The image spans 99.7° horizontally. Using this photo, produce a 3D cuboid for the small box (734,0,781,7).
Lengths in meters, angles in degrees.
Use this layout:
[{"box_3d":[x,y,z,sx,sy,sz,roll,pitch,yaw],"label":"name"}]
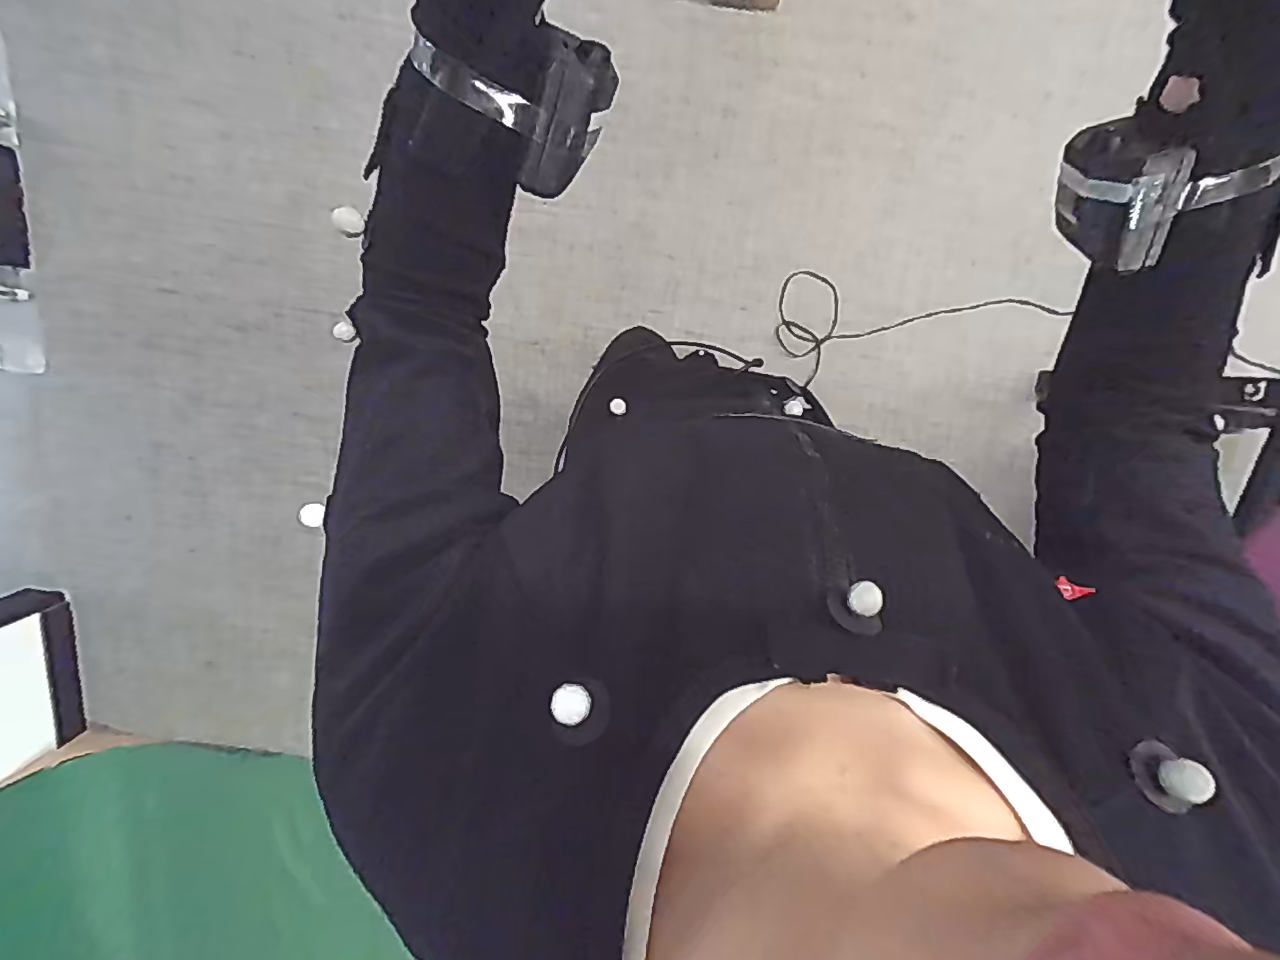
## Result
[{"box_3d":[0.245,-1.146,1.124,0.168,0.176,0.179,9,103,1],"label":"small box"}]
